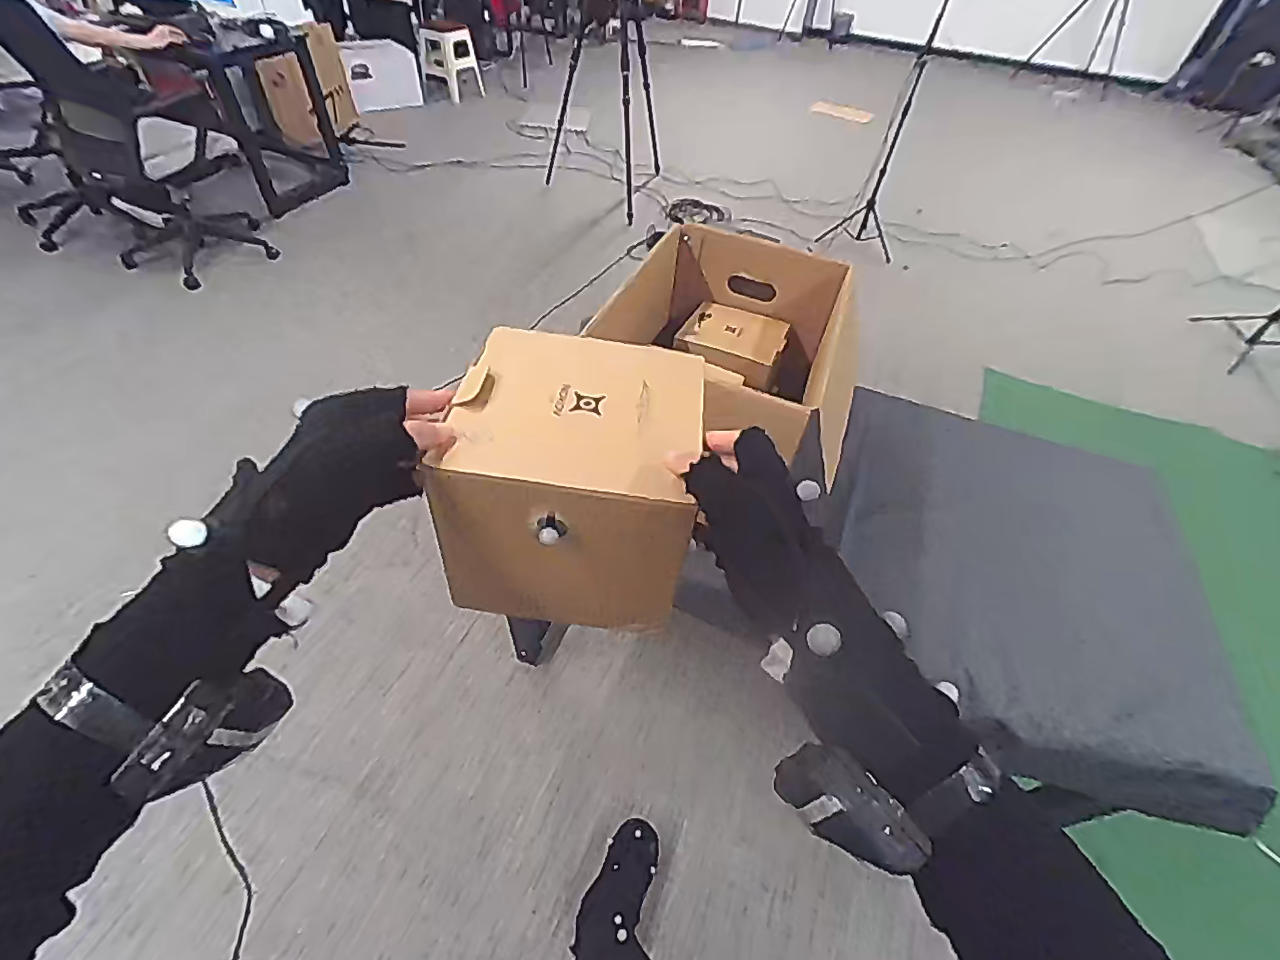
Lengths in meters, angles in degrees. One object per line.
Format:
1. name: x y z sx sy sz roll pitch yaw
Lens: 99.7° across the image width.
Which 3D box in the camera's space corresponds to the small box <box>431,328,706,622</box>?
1. small box: -0.047 0.000 0.449 0.179 0.176 0.168 9 46 -1
